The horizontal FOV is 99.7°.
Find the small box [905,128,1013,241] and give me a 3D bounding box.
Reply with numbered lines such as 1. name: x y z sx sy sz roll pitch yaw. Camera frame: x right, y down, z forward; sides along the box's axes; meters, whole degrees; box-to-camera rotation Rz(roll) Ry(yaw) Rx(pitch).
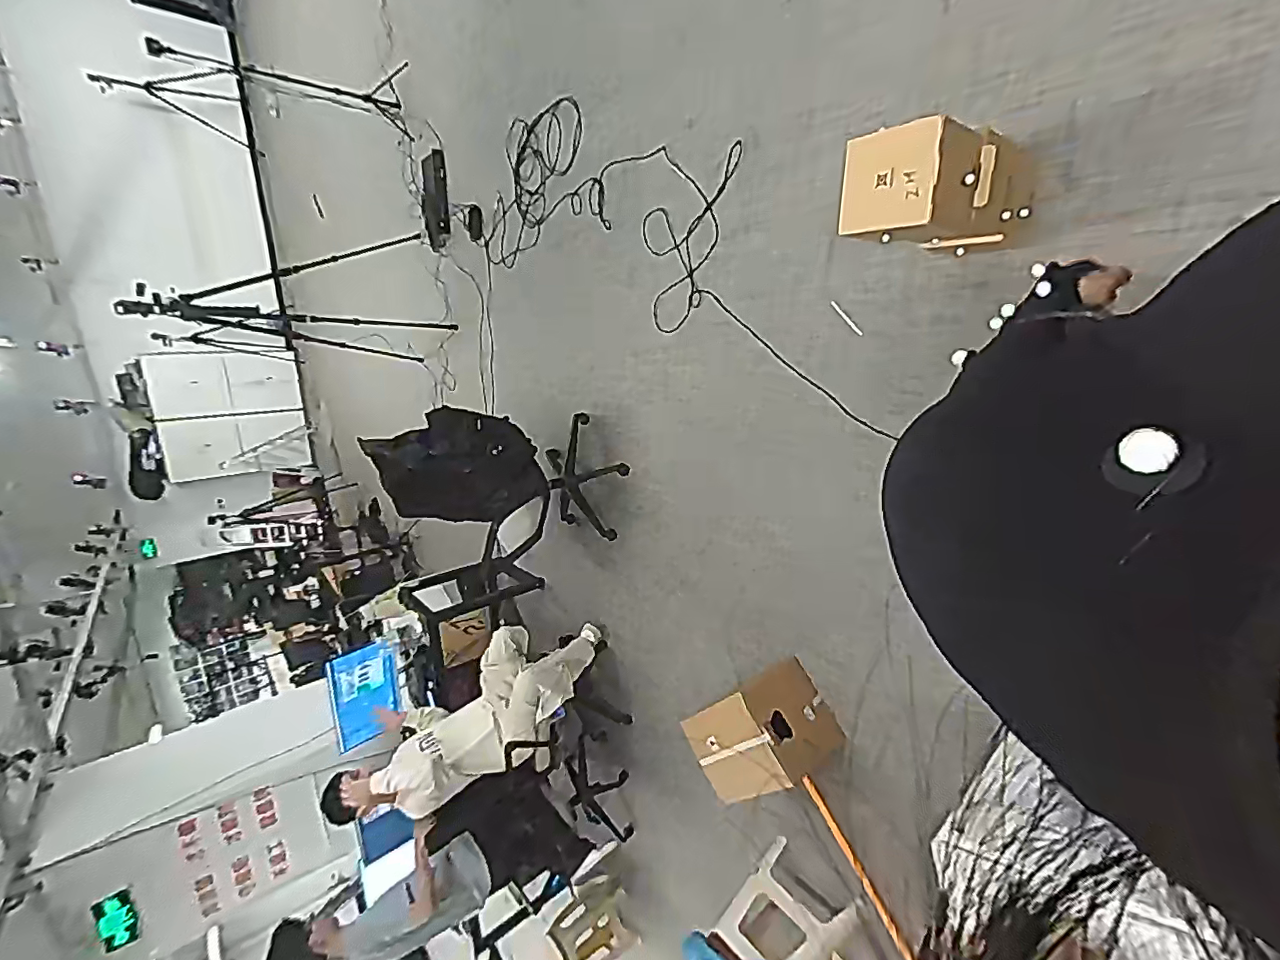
1. small box: 0.631 -0.593 1.108 0.179 0.176 0.168 20 115 48

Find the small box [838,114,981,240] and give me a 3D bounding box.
1. small box: 0.502 -0.552 1.013 0.179 0.176 0.168 19 115 47

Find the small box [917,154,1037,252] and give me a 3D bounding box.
1. small box: 0.756 -0.611 1.213 0.179 0.176 0.168 18 114 47
